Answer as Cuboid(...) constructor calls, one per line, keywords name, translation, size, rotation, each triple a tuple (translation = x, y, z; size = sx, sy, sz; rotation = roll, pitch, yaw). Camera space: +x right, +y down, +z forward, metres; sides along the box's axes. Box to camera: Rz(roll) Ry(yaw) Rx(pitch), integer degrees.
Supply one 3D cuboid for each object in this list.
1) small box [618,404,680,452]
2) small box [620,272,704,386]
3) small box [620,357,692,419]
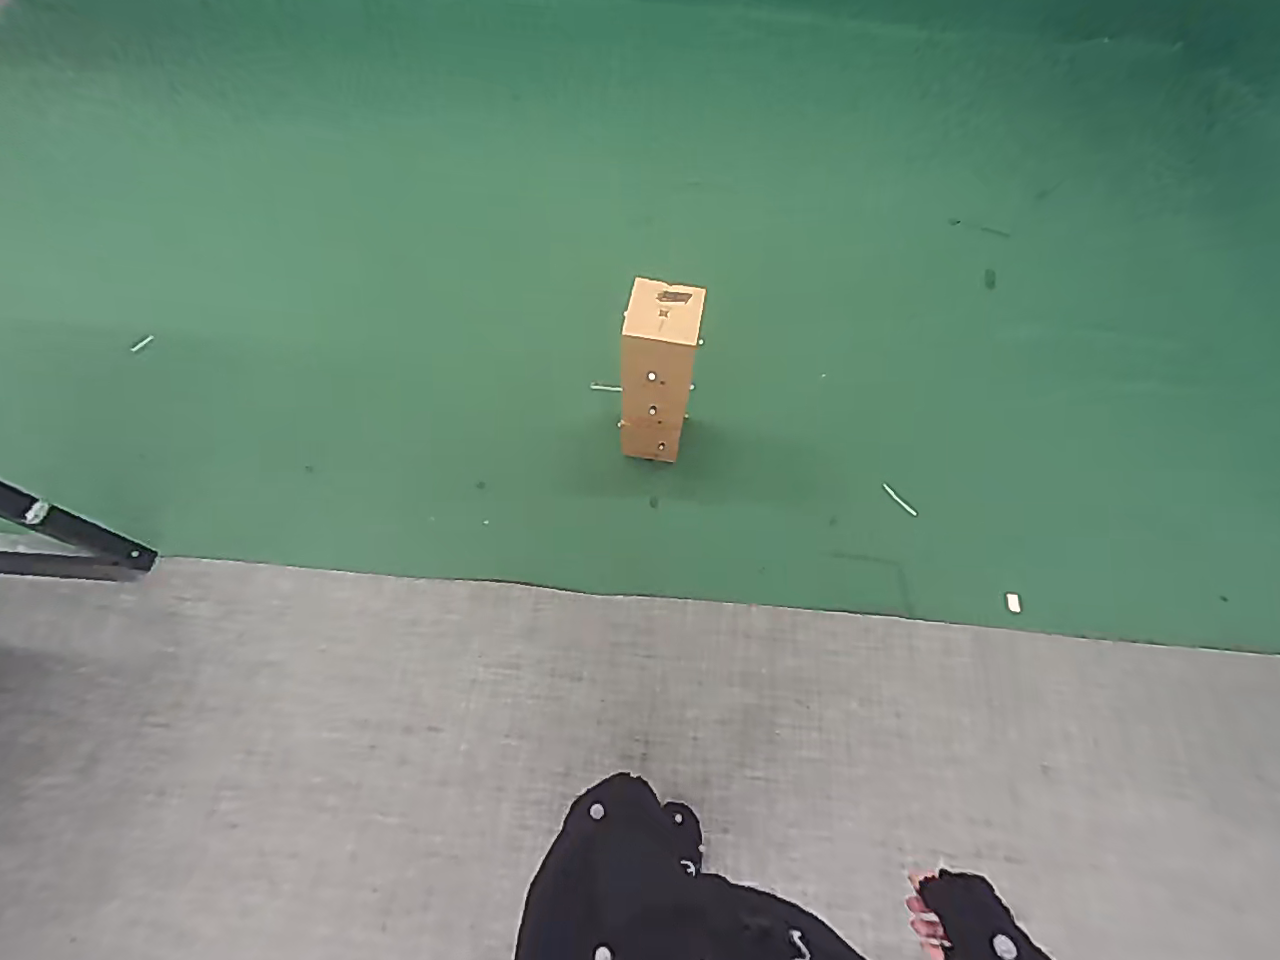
Cuboid(name="small box", translation=(0.035, -0.201, 1.534), size=(0.168, 0.176, 0.179), rotation=(11, 63, 2))
Cuboid(name="small box", translation=(0.048, -0.350, 1.263), size=(0.168, 0.176, 0.179), rotation=(10, 64, 3))
Cuboid(name="small box", translation=(0.044, -0.275, 1.410), size=(0.168, 0.176, 0.179), rotation=(10, 64, 2))
